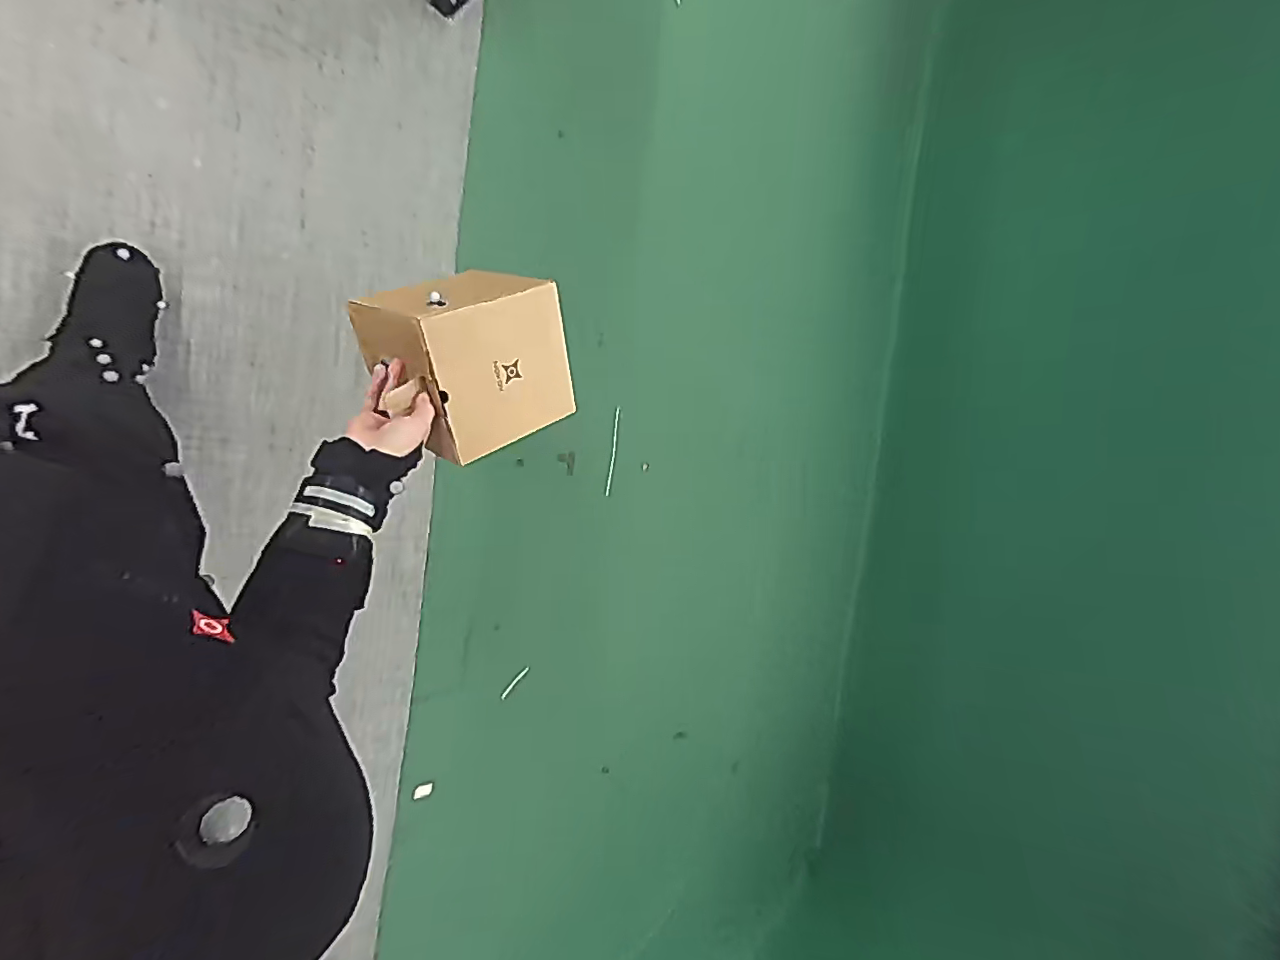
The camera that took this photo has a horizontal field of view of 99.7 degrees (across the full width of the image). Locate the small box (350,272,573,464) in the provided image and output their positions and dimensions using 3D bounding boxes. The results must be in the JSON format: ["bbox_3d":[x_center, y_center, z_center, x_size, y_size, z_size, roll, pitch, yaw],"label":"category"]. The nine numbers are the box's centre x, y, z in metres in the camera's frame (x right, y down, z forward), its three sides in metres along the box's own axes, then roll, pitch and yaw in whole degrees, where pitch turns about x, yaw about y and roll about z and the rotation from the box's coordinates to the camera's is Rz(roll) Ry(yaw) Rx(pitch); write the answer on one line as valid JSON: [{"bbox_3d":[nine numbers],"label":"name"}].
[{"bbox_3d":[-0.209,-0.147,0.657,0.179,0.176,0.168,-34,132,-37],"label":"small box"}]
